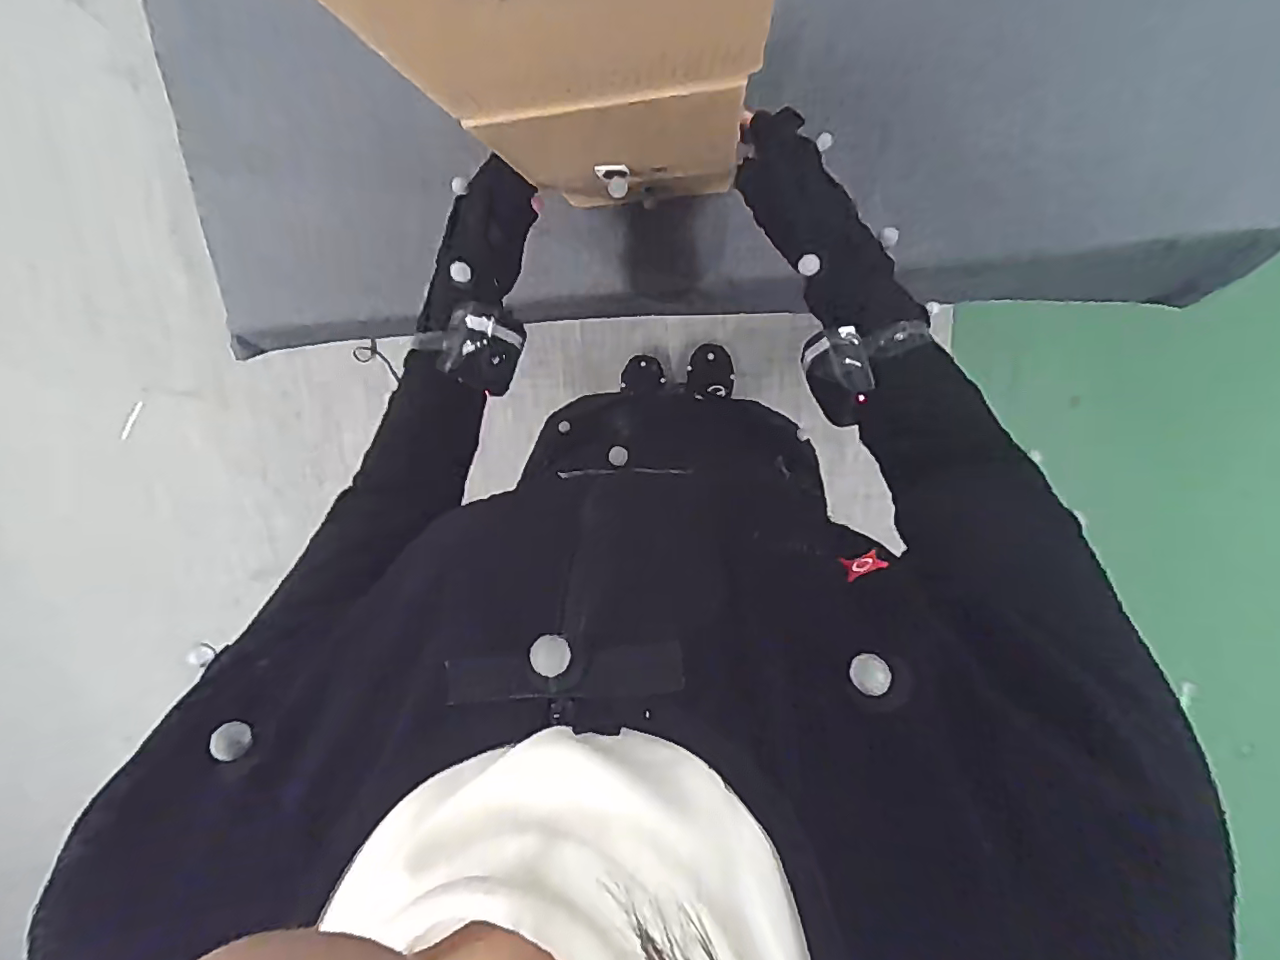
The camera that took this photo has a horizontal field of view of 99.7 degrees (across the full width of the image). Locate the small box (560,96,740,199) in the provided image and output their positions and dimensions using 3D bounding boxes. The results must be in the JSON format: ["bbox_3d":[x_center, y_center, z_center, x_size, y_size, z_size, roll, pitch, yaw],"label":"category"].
[{"bbox_3d":[-0.004,-0.380,0.510,0.179,0.176,0.168,-4,105,7],"label":"small box"}]

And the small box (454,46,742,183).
[{"bbox_3d":[-0.023,-0.321,0.358,0.168,0.176,0.179,-3,106,8],"label":"small box"}]

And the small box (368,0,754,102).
[{"bbox_3d":[-0.039,-0.281,0.217,0.179,0.176,0.168,-3,105,8],"label":"small box"}]
